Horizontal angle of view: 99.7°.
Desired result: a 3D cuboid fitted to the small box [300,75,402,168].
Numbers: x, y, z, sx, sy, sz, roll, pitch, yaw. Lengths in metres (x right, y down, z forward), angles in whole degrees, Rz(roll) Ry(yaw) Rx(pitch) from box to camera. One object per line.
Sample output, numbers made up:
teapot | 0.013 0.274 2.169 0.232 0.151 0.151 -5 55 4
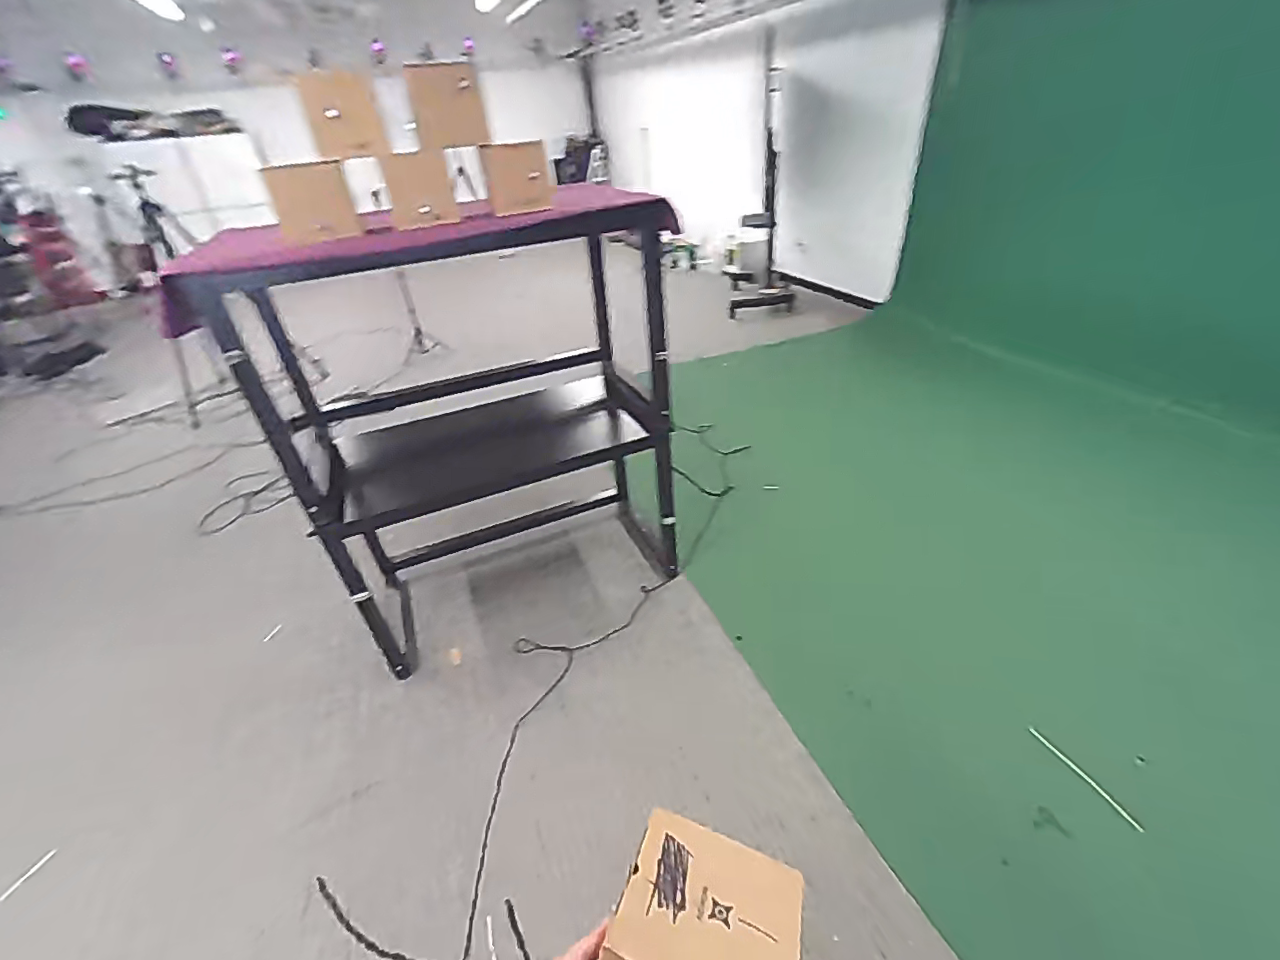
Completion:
small box | -0.685 -0.855 1.301 0.168 0.176 0.179 -17 35 -15

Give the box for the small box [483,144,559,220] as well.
small box | -0.329 -0.826 1.502 0.168 0.176 0.179 -14 33 -14

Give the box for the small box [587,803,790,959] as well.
small box | 0.042 0.492 0.558 0.179 0.176 0.168 17 18 14

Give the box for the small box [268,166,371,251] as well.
small box | -0.791 -0.685 1.356 0.179 0.176 0.168 -16 35 -17

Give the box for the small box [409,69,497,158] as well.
small box | -0.468 -0.922 1.367 0.179 0.176 0.168 -16 34 -15
